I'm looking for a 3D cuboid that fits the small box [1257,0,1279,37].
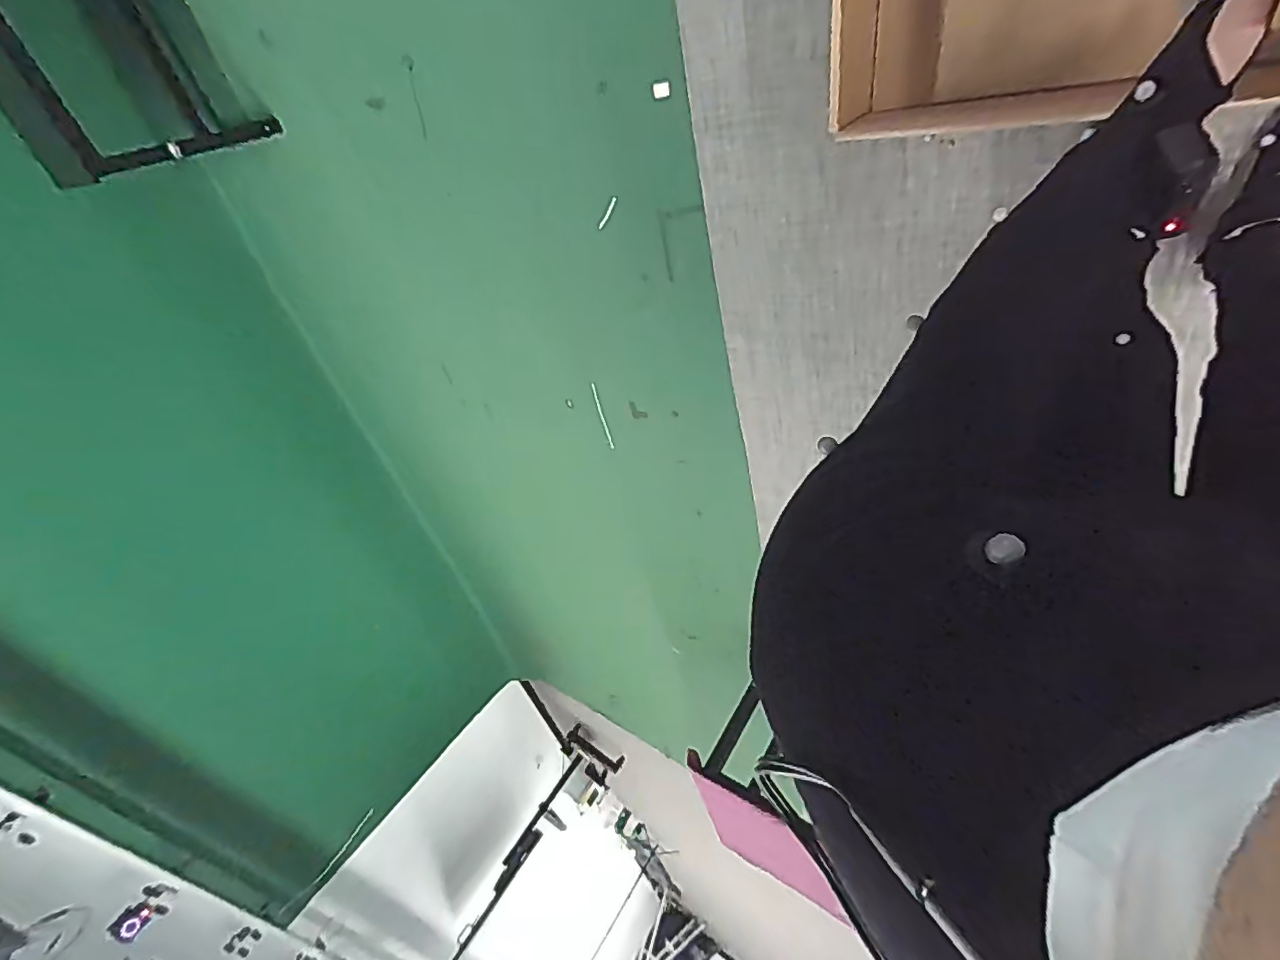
[{"bbox_3d":[0.518,-0.381,0.312,0.168,0.176,0.179,20,135,30],"label":"small box"}]
